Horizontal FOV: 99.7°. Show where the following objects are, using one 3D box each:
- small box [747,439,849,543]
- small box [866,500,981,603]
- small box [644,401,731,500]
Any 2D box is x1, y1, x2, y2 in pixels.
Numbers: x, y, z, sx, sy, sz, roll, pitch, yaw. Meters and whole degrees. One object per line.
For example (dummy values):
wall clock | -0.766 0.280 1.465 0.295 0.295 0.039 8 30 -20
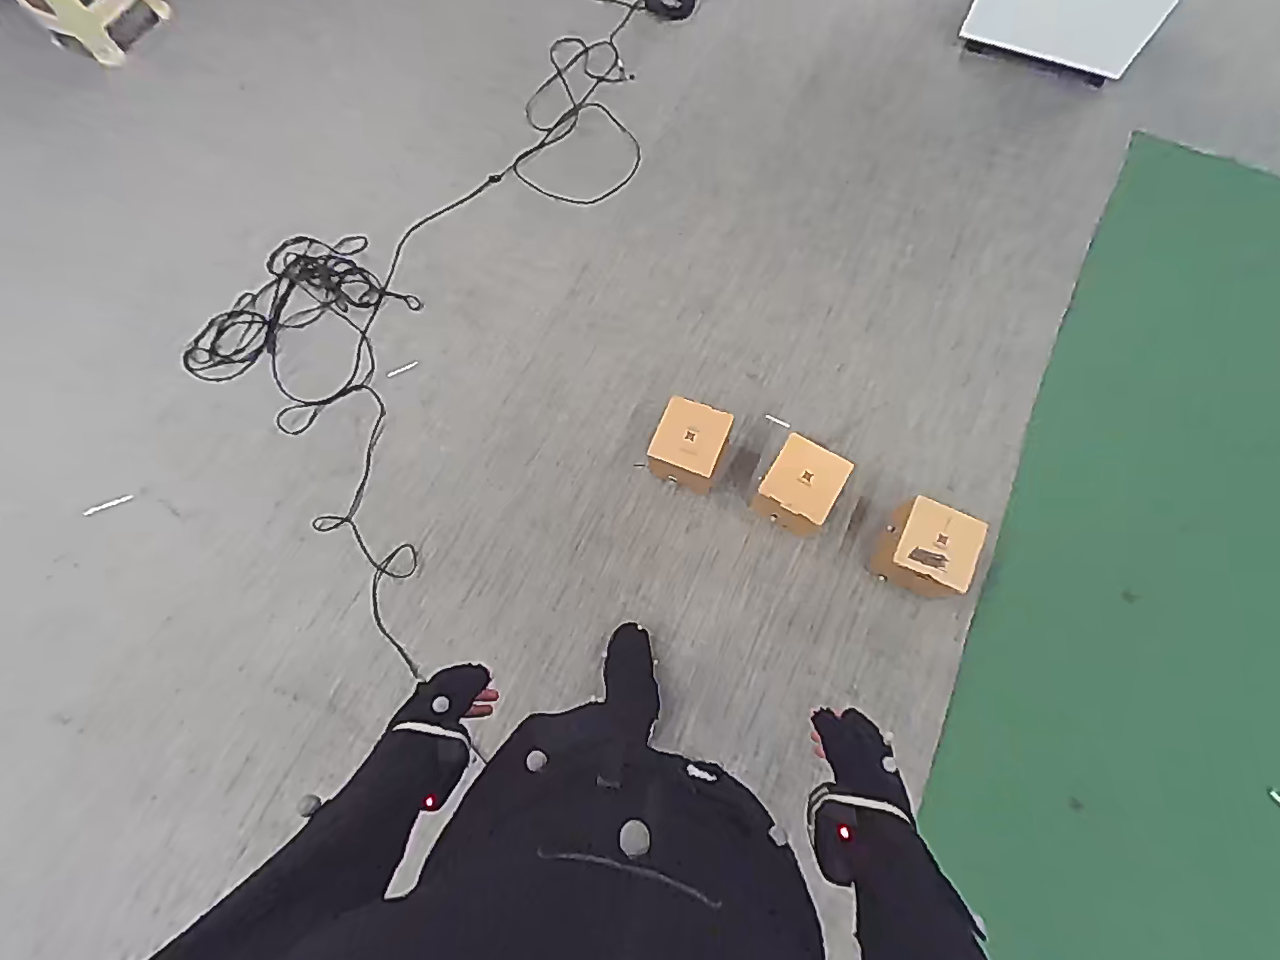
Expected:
small box | 0.383 0.033 1.344 0.168 0.176 0.179 30 77 11
small box | 0.662 0.176 1.285 0.168 0.176 0.179 25 74 10
small box | 0.121 -0.071 1.388 0.168 0.176 0.179 20 76 11
